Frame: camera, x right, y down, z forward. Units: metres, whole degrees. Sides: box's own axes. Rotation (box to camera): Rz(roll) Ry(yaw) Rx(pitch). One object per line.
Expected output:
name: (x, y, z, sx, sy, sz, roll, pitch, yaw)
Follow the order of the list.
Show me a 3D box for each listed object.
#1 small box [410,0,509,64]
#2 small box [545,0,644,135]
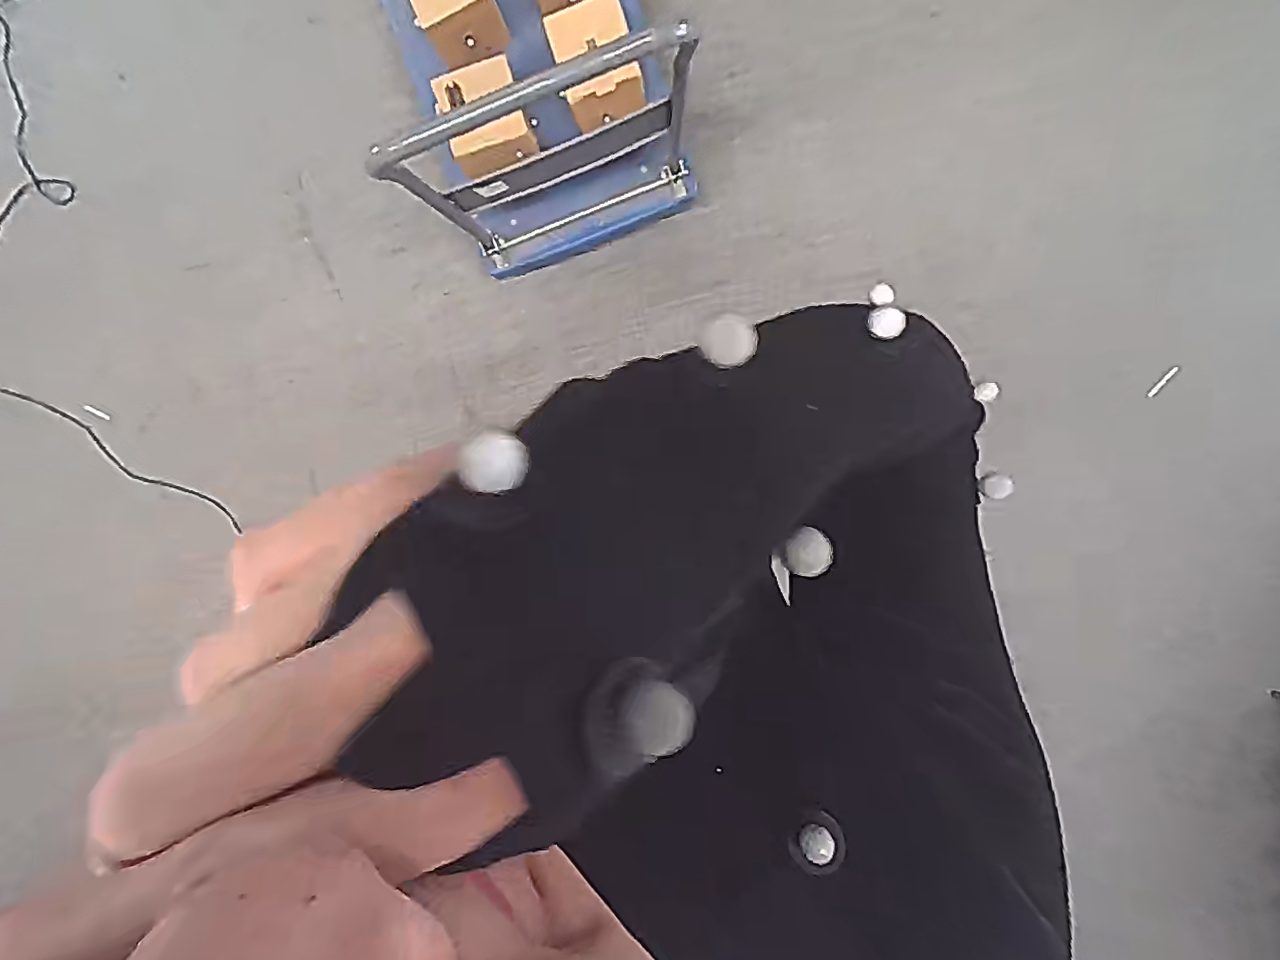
small box: (-0.417, -1.083, 1.210, 0.168, 0.176, 0.179, -22, 98, 6)
small box: (-0.095, -0.927, 1.218, 0.168, 0.176, 0.179, -18, 99, 6)
